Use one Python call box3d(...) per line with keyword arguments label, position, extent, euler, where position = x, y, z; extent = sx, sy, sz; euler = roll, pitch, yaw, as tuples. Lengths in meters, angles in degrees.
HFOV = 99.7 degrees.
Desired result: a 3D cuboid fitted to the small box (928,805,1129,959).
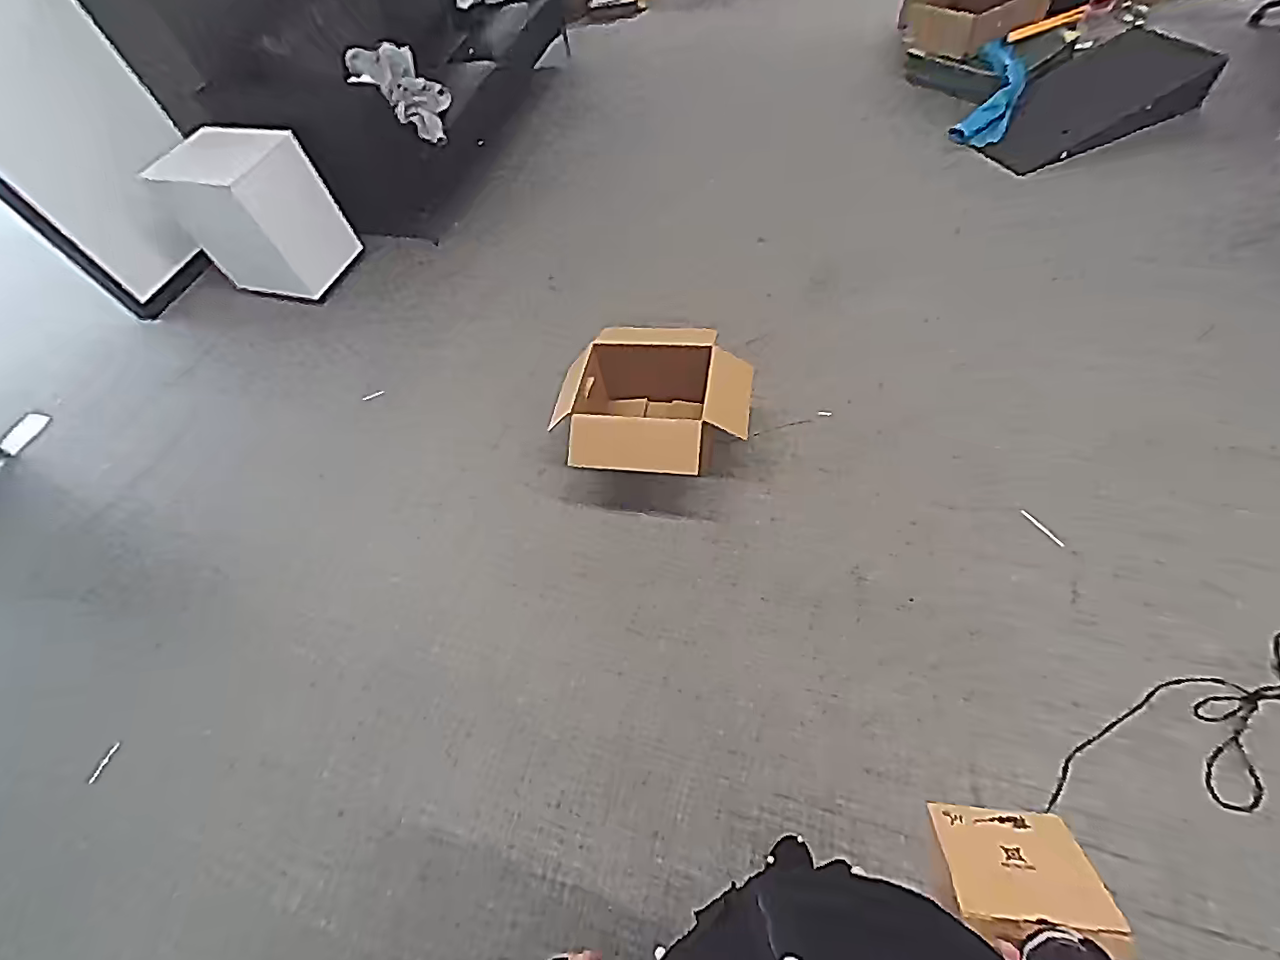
box3d(label="small box", position=(0.472, 0.553, 0.678), extent=(0.168, 0.179, 0.176), euler=(-4, 98, 18))
